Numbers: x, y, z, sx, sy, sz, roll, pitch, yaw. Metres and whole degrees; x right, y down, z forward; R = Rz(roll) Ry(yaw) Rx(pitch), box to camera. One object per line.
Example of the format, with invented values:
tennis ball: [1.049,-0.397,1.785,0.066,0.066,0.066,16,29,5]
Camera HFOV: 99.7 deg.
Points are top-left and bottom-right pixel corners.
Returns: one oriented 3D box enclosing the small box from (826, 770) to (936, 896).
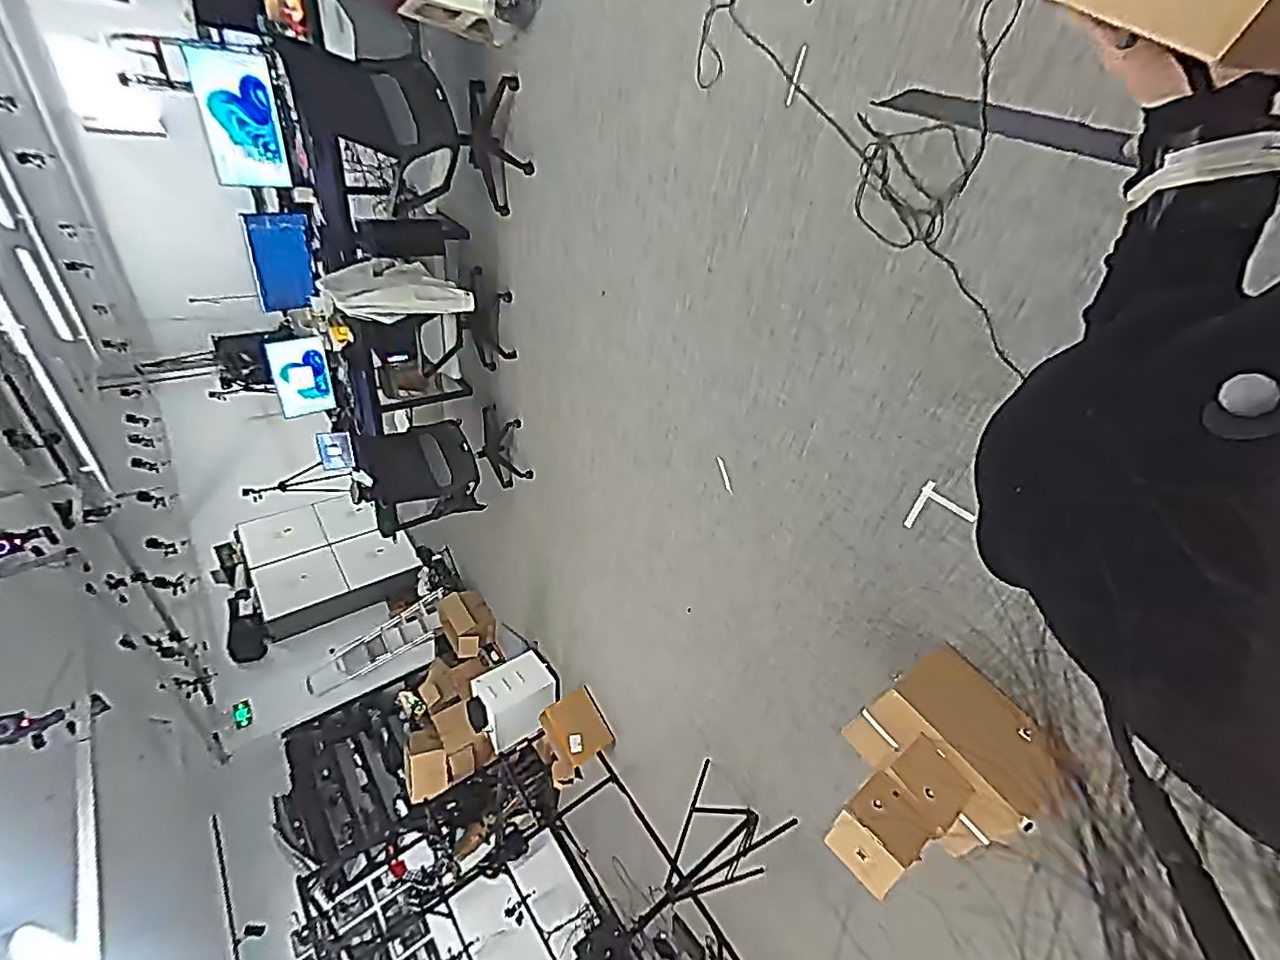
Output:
small box: [0.601,0.869,1.345,0.168,0.176,0.179,38,135,39]

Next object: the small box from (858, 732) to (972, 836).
small box: [0.727,0.809,1.430,0.179,0.176,0.168,50,141,28]
